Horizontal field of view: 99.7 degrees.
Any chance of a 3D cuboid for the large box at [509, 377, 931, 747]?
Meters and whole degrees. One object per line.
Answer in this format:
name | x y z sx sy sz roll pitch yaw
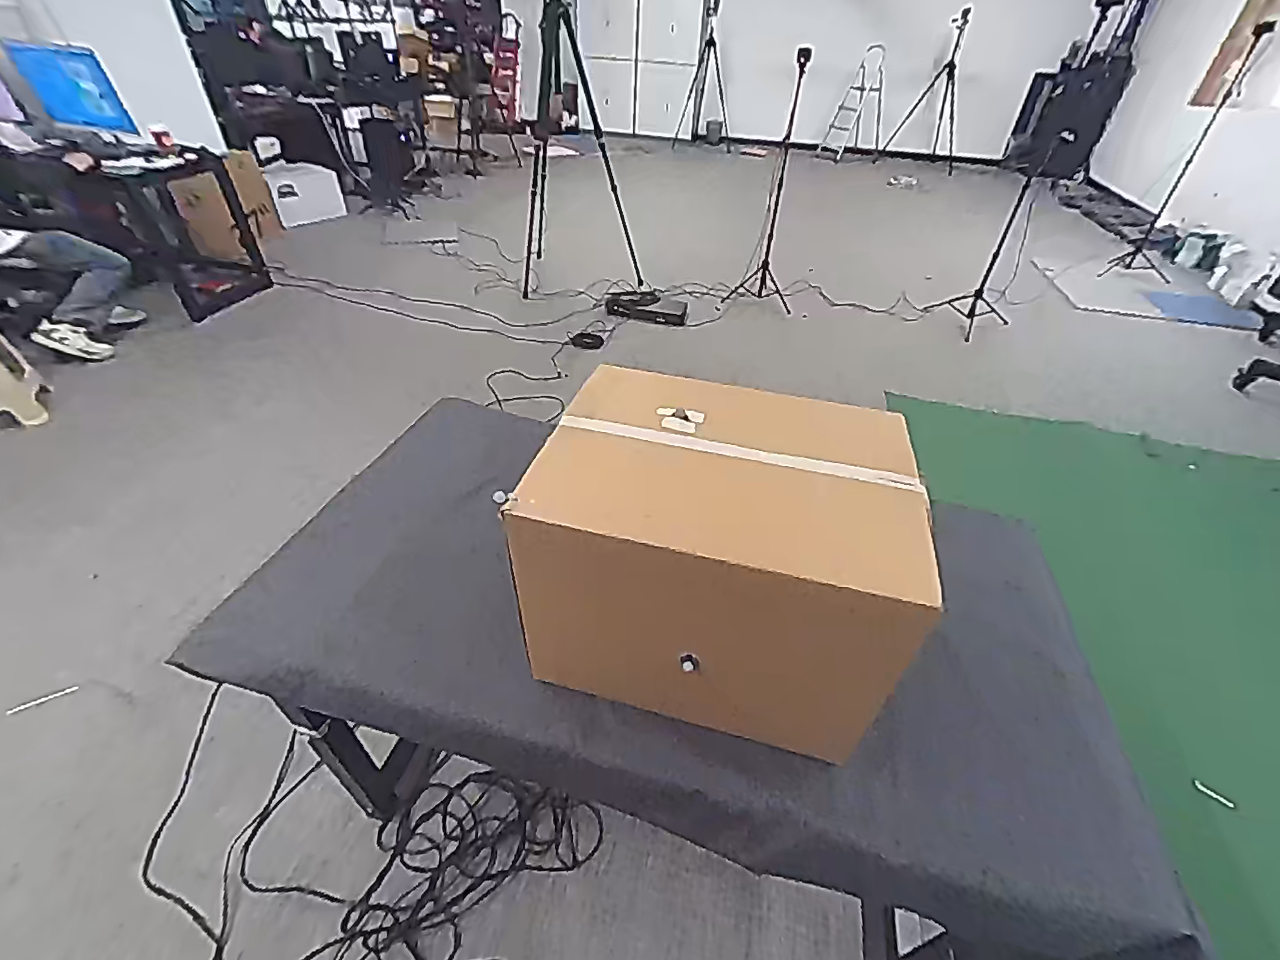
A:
large box | 0.097 0.095 0.708 0.408 0.320 0.320 10 40 10
